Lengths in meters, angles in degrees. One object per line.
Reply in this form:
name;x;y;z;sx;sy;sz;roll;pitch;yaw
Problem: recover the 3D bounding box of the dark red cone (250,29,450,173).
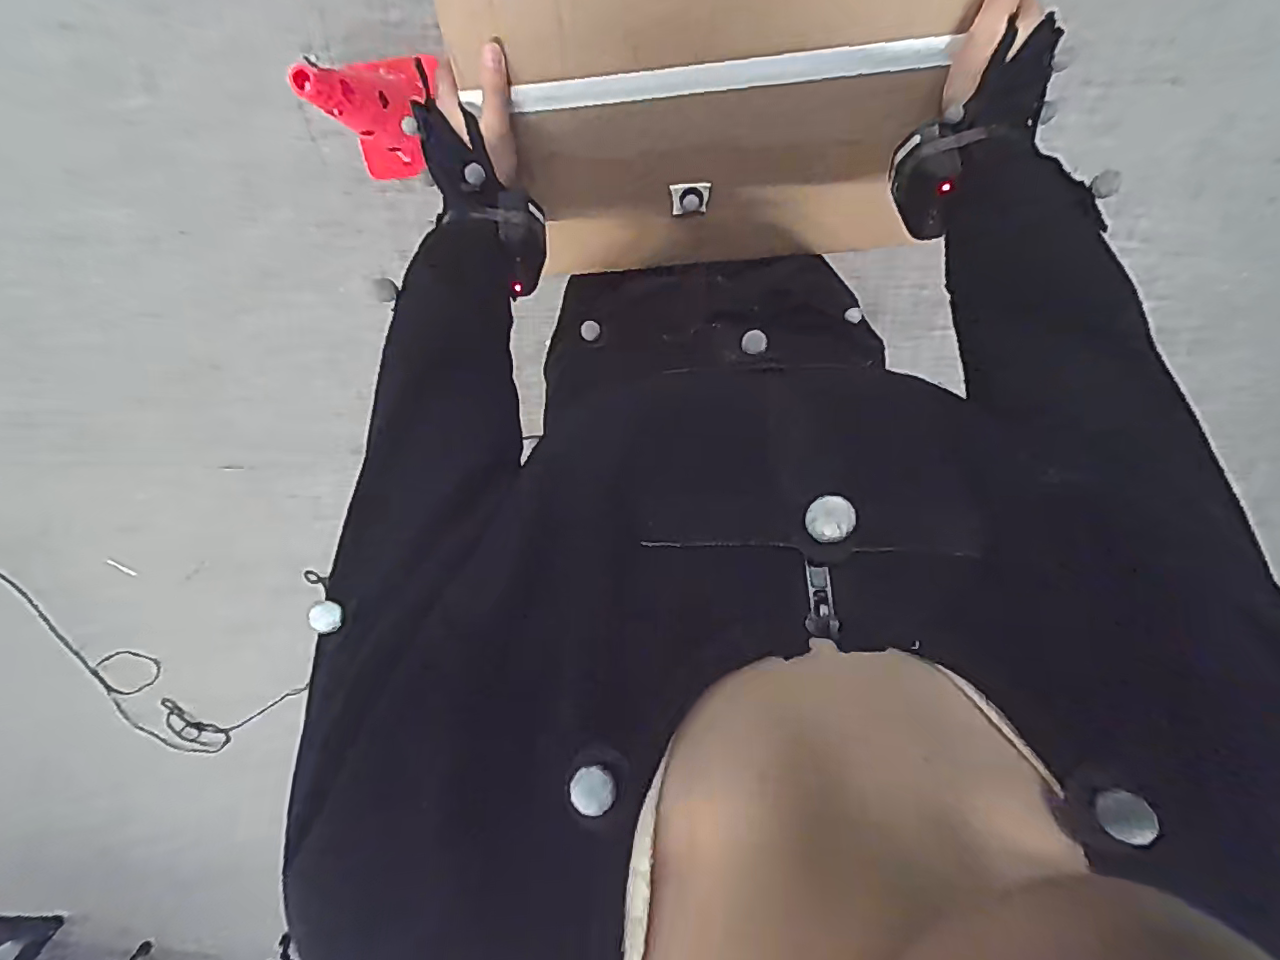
dark red cone;-0.489;-0.656;0.900;0.202;0.394;0.201;-5;113;6
